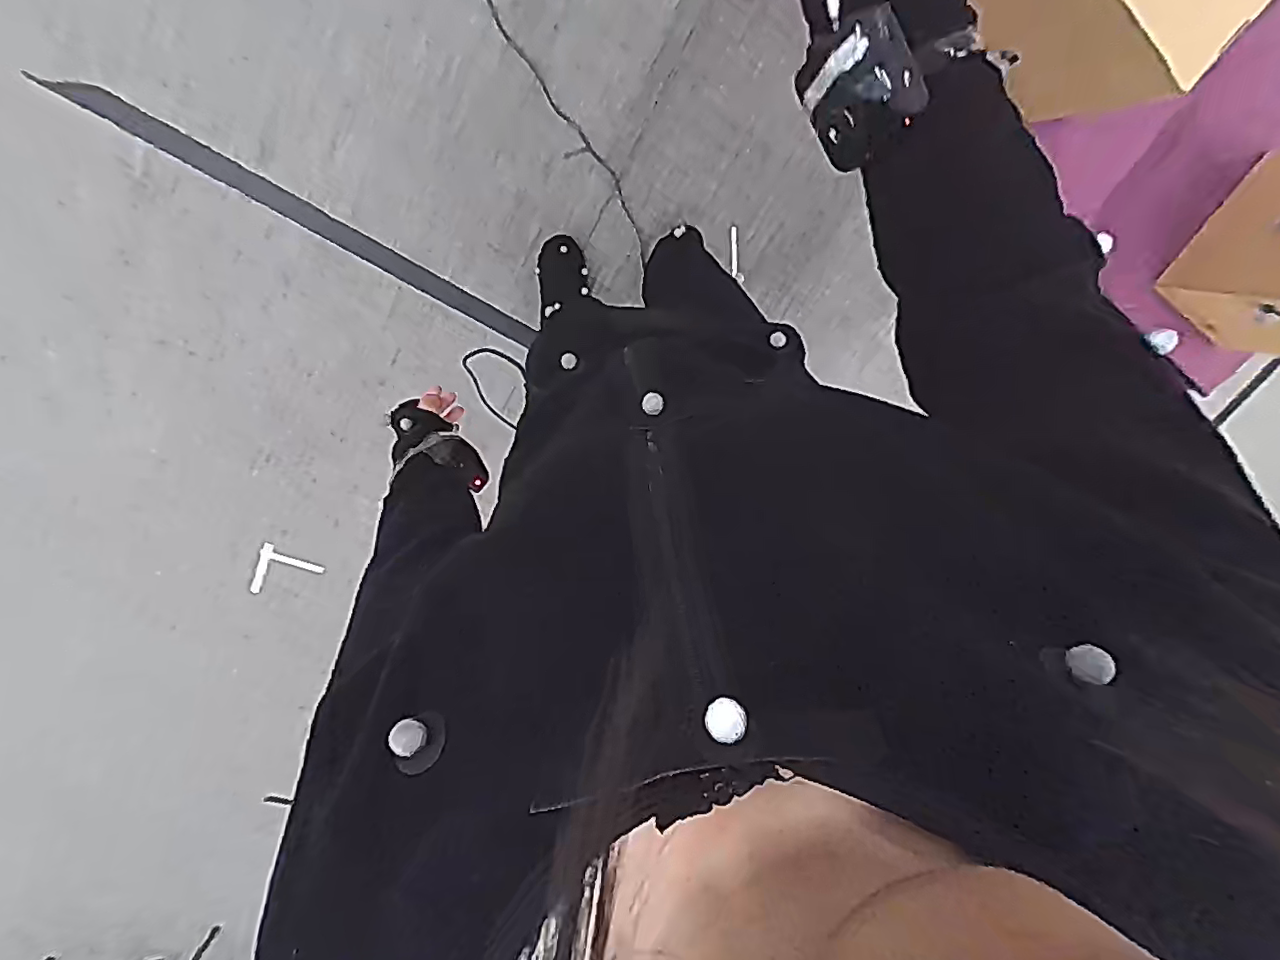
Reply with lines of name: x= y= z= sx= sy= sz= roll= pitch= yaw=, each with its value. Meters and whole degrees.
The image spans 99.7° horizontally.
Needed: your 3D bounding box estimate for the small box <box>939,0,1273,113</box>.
small box: x=0.406 y=-0.444 z=0.453 sx=0.179 sy=0.176 sz=0.168 roll=27 pitch=109 yaw=-22
